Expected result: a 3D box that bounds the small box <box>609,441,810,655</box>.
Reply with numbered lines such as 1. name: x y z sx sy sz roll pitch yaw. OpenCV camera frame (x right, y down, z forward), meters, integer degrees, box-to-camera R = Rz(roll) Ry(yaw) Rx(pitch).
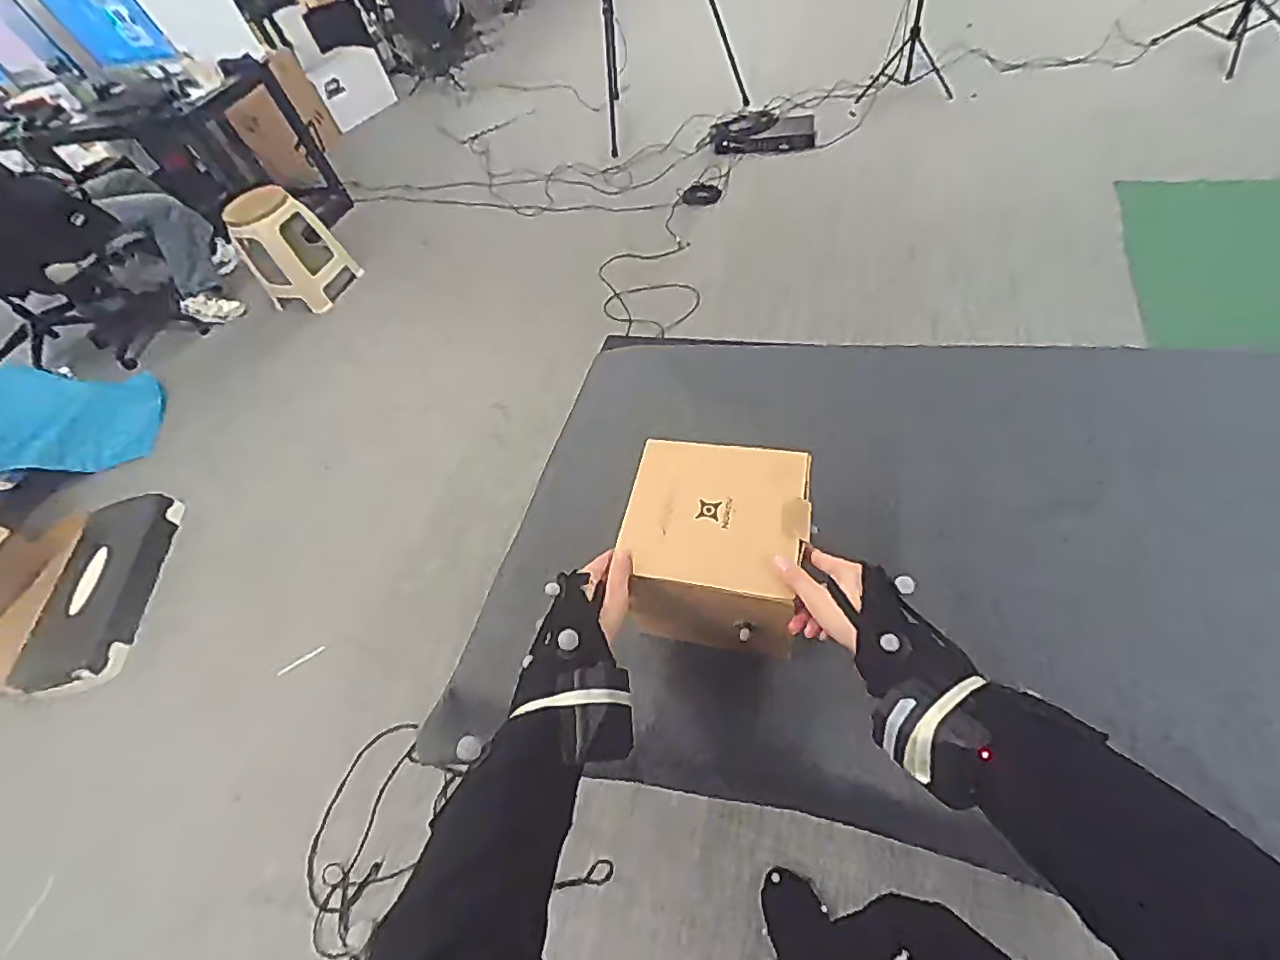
1. small box: 0.085 0.077 0.591 0.179 0.176 0.168 4 54 16
